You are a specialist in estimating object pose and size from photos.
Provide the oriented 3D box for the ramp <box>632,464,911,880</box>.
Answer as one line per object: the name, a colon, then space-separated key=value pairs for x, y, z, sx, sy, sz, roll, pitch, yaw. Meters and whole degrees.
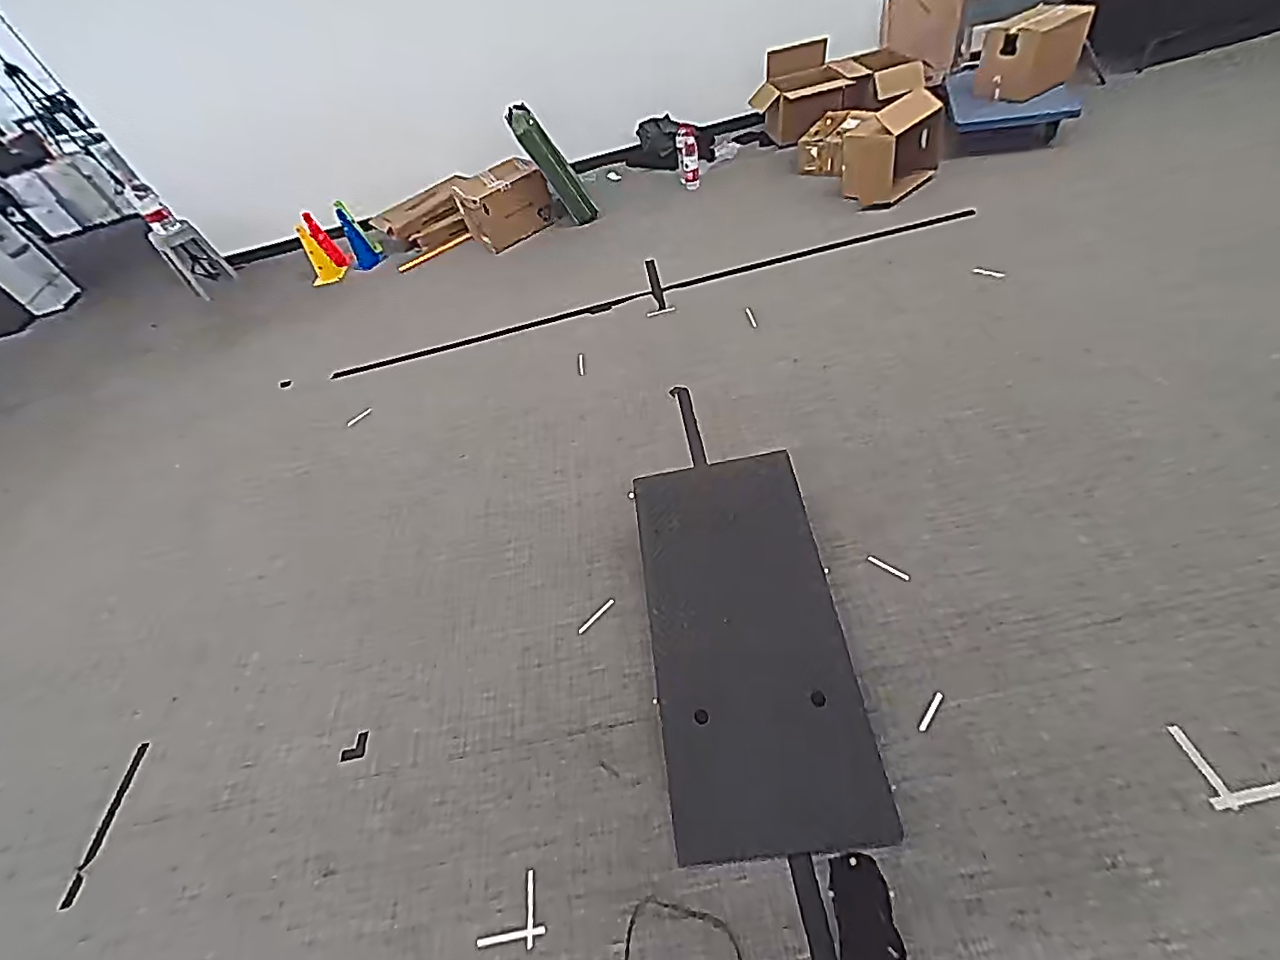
ramp: x=0.279 y=0.416 z=1.434 sx=0.509 sy=0.206 sz=0.991 roll=-13 pitch=47 yaw=3
